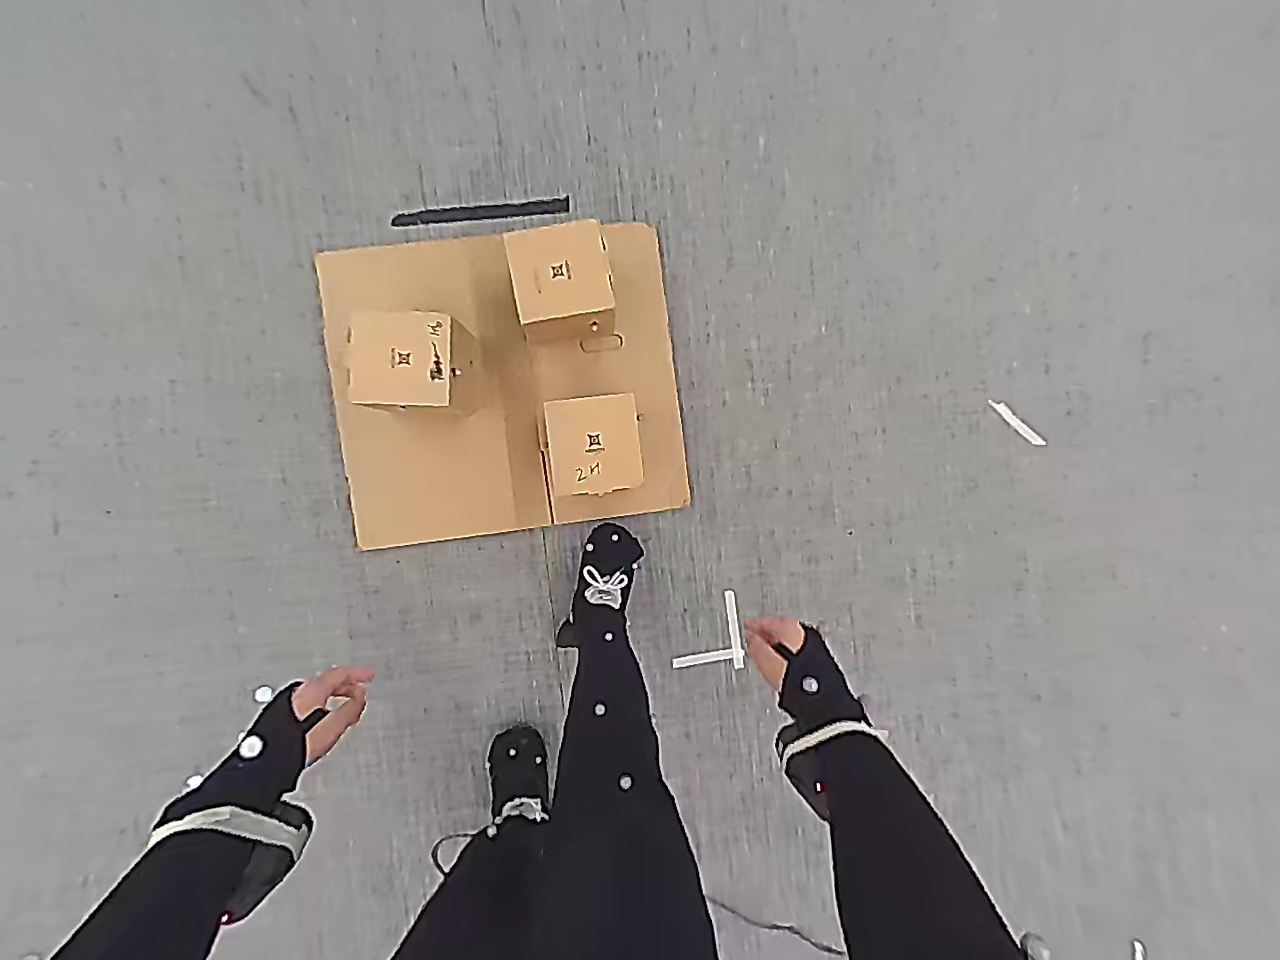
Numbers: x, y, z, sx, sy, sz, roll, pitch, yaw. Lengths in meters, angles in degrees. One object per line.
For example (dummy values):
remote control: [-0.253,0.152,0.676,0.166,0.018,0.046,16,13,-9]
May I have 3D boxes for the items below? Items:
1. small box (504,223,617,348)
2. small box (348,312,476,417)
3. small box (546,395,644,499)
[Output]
small box: [-0.148,-0.365,1.038,0.179,0.176,0.168,-12,91,-4]
small box: [-0.421,-0.208,1.019,0.179,0.176,0.168,2,92,-3]
small box: [-0.087,-0.062,1.050,0.168,0.176,0.179,-7,93,-3]
